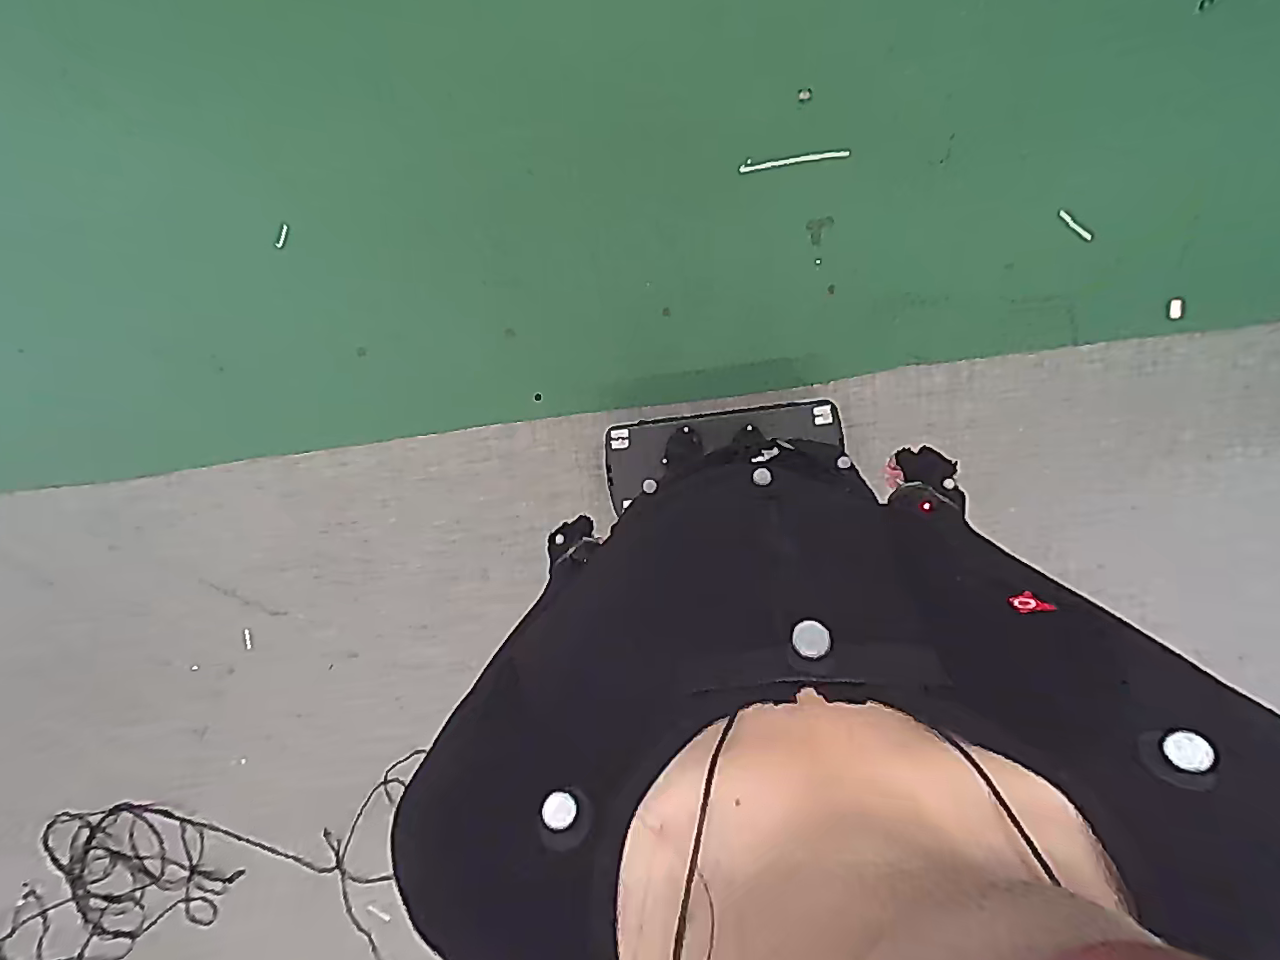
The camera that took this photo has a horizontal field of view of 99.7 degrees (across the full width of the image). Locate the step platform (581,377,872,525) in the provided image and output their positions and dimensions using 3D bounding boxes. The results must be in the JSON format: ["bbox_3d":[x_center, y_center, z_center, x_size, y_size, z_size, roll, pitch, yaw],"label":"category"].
[{"bbox_3d":[0.207,-0.075,1.373,0.684,0.204,0.286,-7,96,6],"label":"step platform"}]
